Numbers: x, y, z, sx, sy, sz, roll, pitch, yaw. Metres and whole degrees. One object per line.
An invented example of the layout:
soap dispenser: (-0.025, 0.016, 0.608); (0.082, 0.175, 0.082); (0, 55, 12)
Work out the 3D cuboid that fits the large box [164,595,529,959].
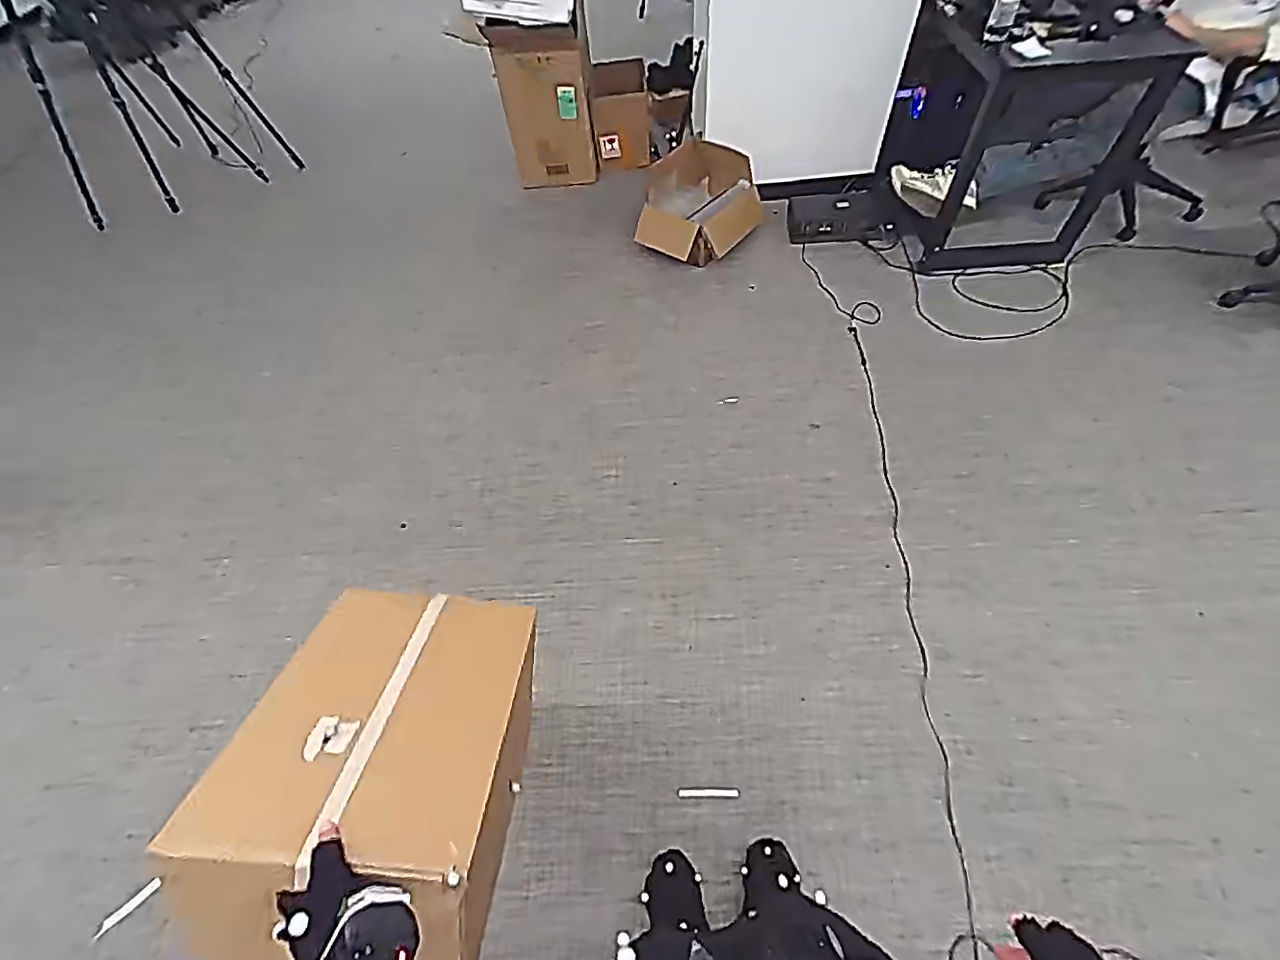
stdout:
large box: (-0.354, 0.430, 0.793); (0.320, 0.320, 0.408); (6, 29, -4)
